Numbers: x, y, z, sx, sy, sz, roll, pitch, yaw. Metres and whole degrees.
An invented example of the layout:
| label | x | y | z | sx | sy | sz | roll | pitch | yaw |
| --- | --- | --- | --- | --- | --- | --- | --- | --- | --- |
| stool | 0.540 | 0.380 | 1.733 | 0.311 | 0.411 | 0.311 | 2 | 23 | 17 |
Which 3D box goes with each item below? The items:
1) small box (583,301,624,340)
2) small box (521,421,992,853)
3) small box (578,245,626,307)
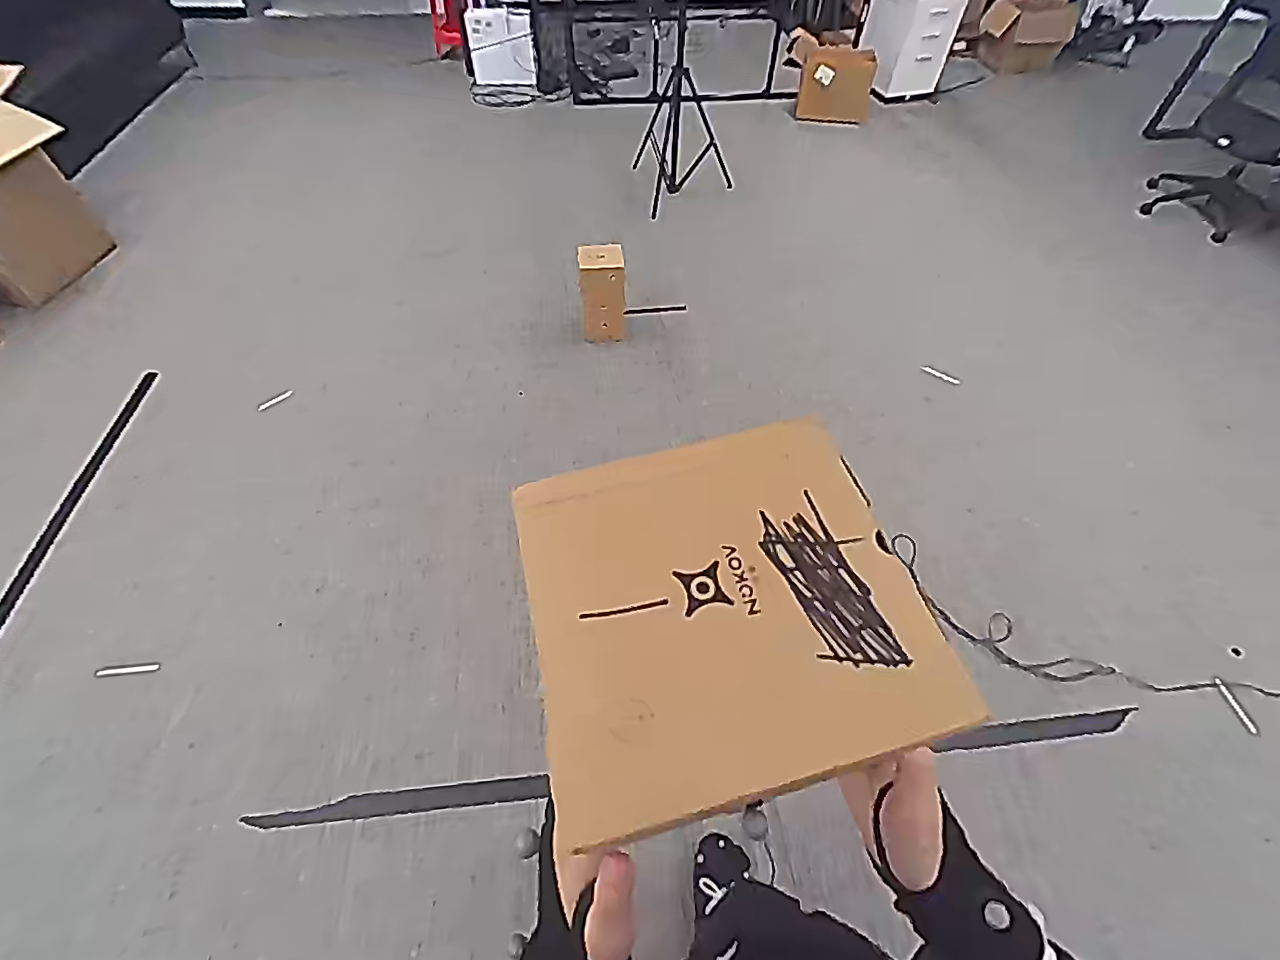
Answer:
| label | x | y | z | sx | sy | sz | roll | pitch | yaw |
| --- | --- | --- | --- | --- | --- | --- | --- | --- | --- |
| small box | -0.154 | -0.706 | 2.278 | 0.168 | 0.176 | 0.179 | -4 | 54 | -4 |
| small box | 0.042 | 0.094 | 0.315 | 0.179 | 0.176 | 0.168 | -13 | 57 | -7 |
| small box | -0.151 | -0.809 | 2.147 | 0.179 | 0.176 | 0.168 | -5 | 52 | -4 |
